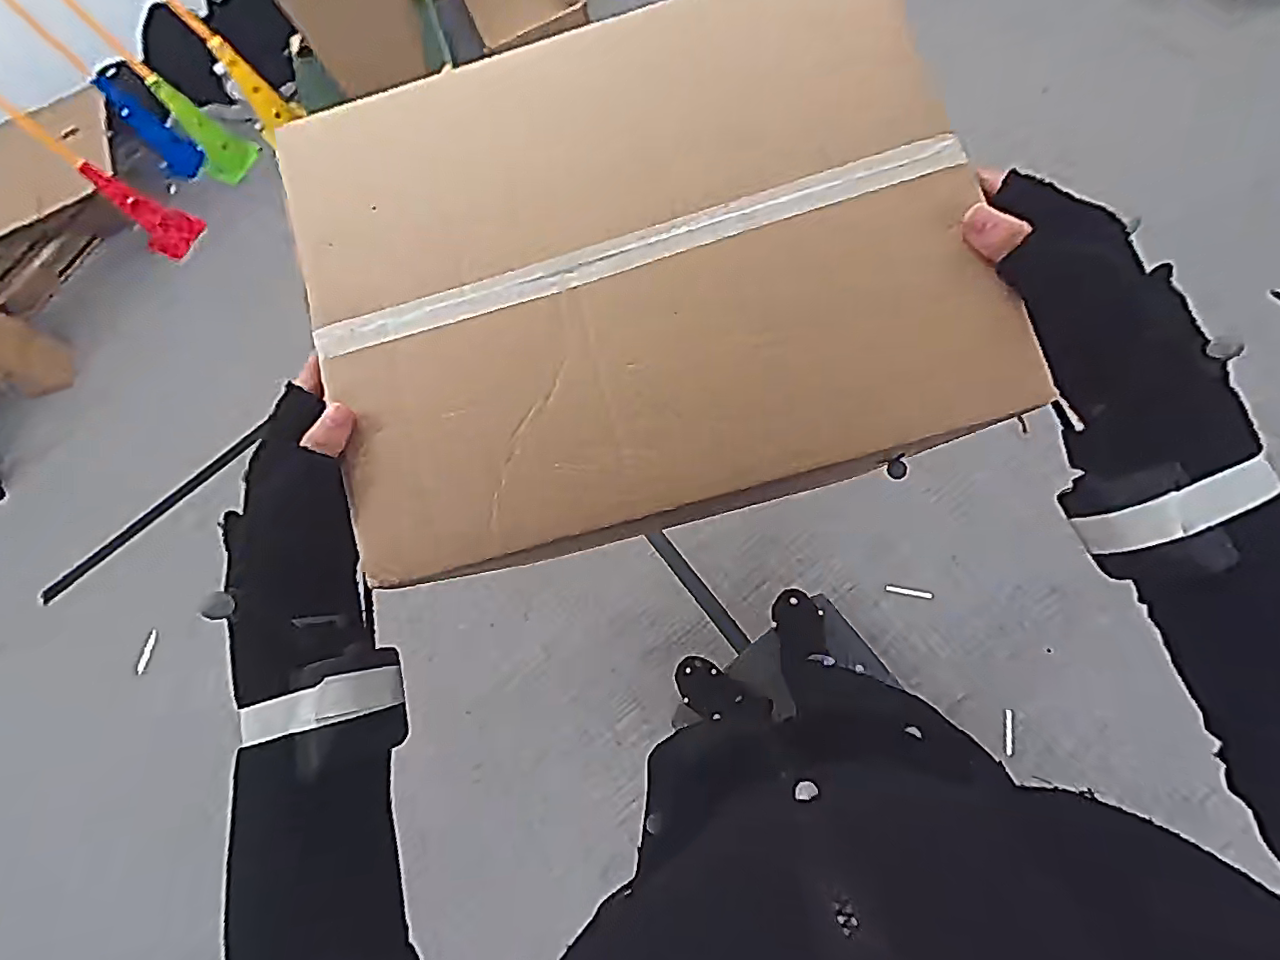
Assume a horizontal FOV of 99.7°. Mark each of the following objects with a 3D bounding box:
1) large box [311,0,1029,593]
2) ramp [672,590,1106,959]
[{"bbox_3d":[0.016,-0.115,0.491,0.408,0.320,0.320,-15,82,4],"label":"large box"},{"bbox_3d":[0.574,0.797,1.276,0.509,0.206,0.991,-41,74,-5],"label":"ramp"}]
